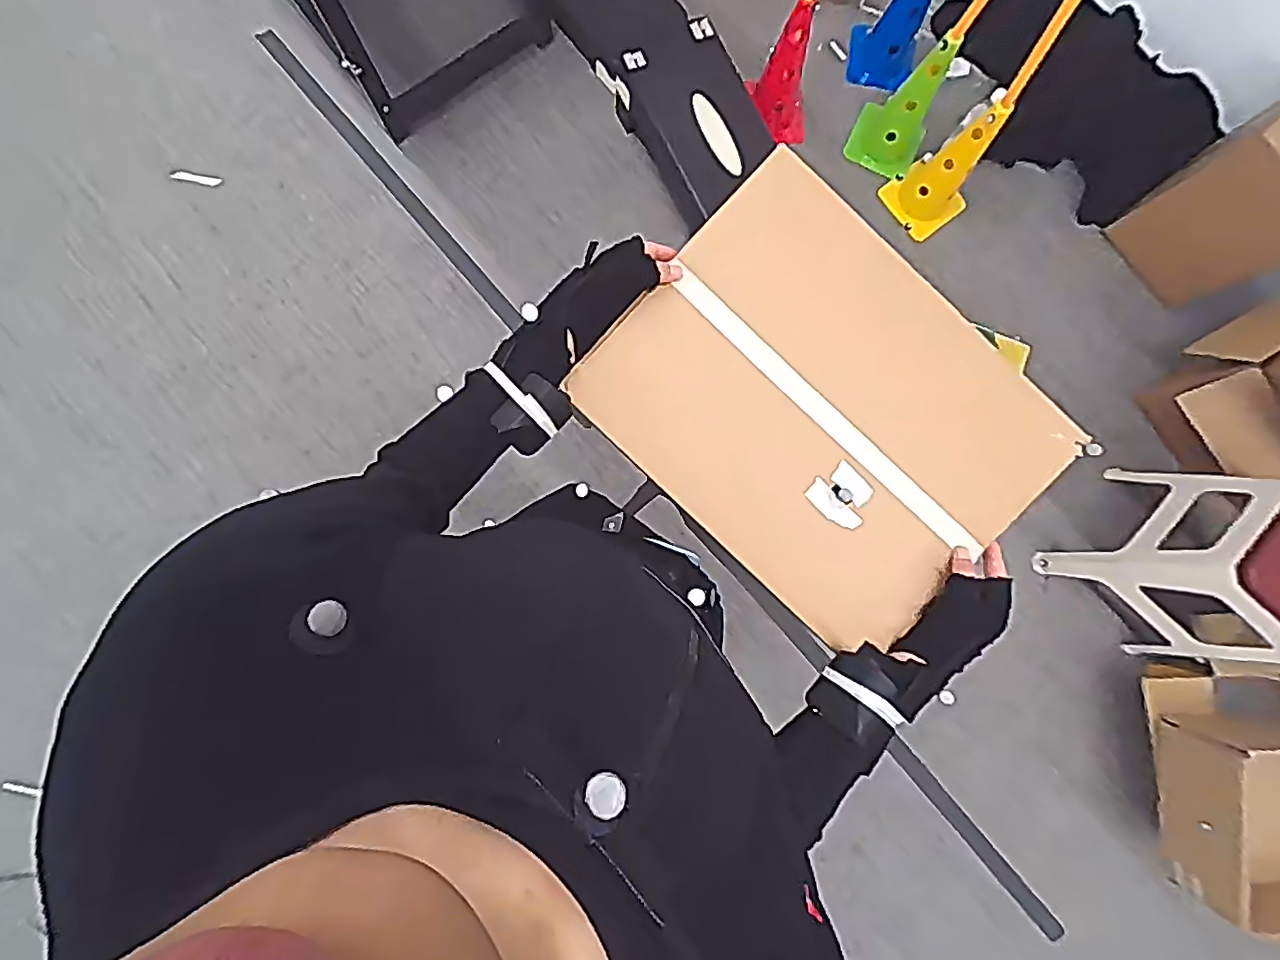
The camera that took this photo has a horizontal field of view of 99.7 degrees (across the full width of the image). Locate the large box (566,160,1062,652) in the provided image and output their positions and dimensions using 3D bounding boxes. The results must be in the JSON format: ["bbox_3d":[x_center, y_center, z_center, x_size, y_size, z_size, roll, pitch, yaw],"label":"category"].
[{"bbox_3d":[0.168,-0.075,0.677,0.408,0.320,0.320,43,92,-2],"label":"large box"}]
